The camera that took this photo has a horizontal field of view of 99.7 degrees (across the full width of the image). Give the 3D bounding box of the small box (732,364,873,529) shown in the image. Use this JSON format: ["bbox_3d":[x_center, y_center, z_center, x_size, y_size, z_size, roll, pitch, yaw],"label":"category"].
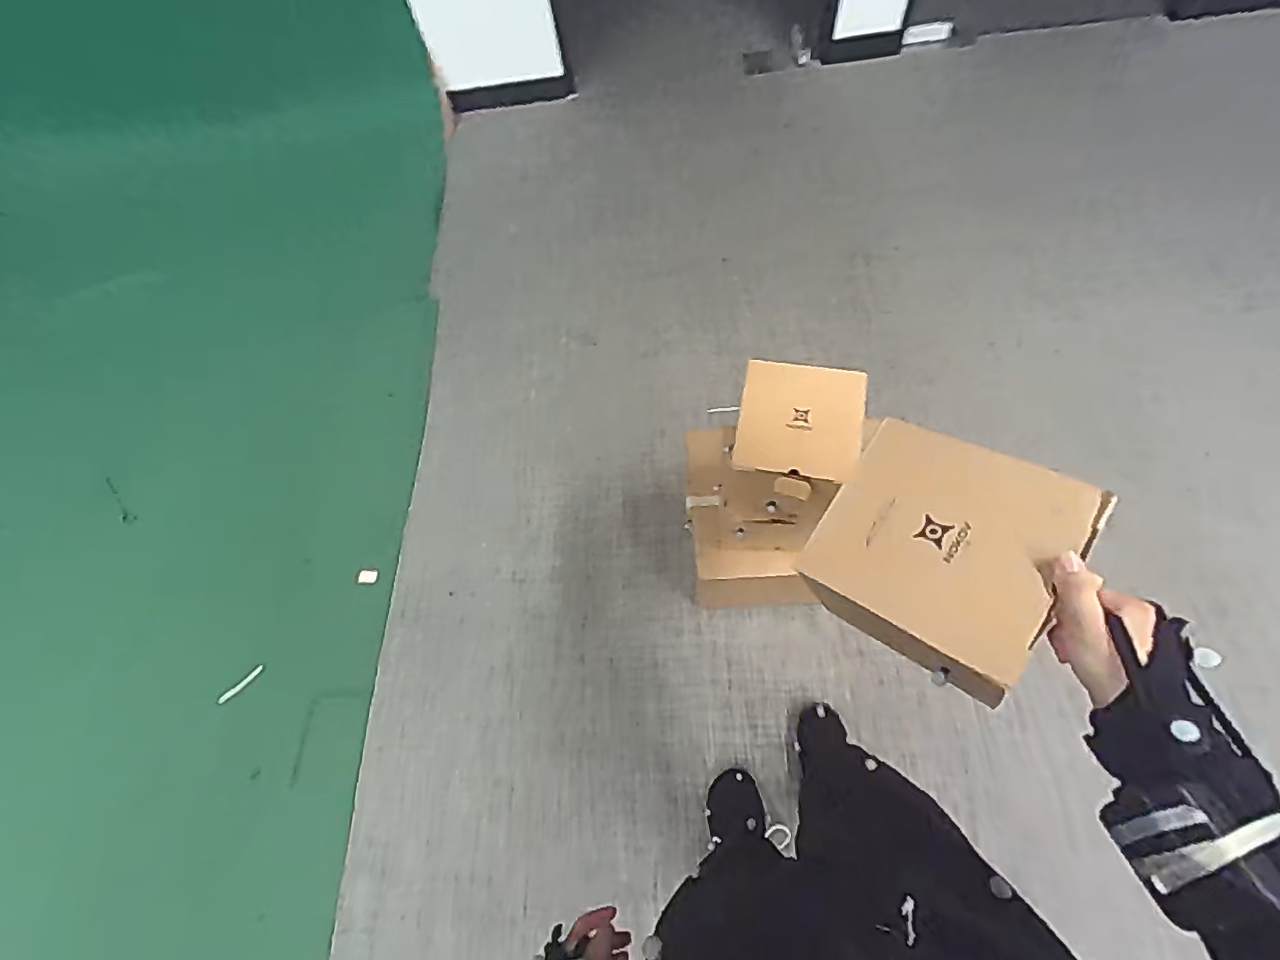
[{"bbox_3d":[0.233,-0.044,0.802,0.168,0.176,0.179,9,68,10],"label":"small box"}]

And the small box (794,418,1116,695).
[{"bbox_3d":[0.275,0.075,0.492,0.179,0.176,0.168,28,80,38],"label":"small box"}]

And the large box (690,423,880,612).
[{"bbox_3d":[0.322,0.097,1.177,0.408,0.320,0.320,-4,67,4],"label":"large box"}]
